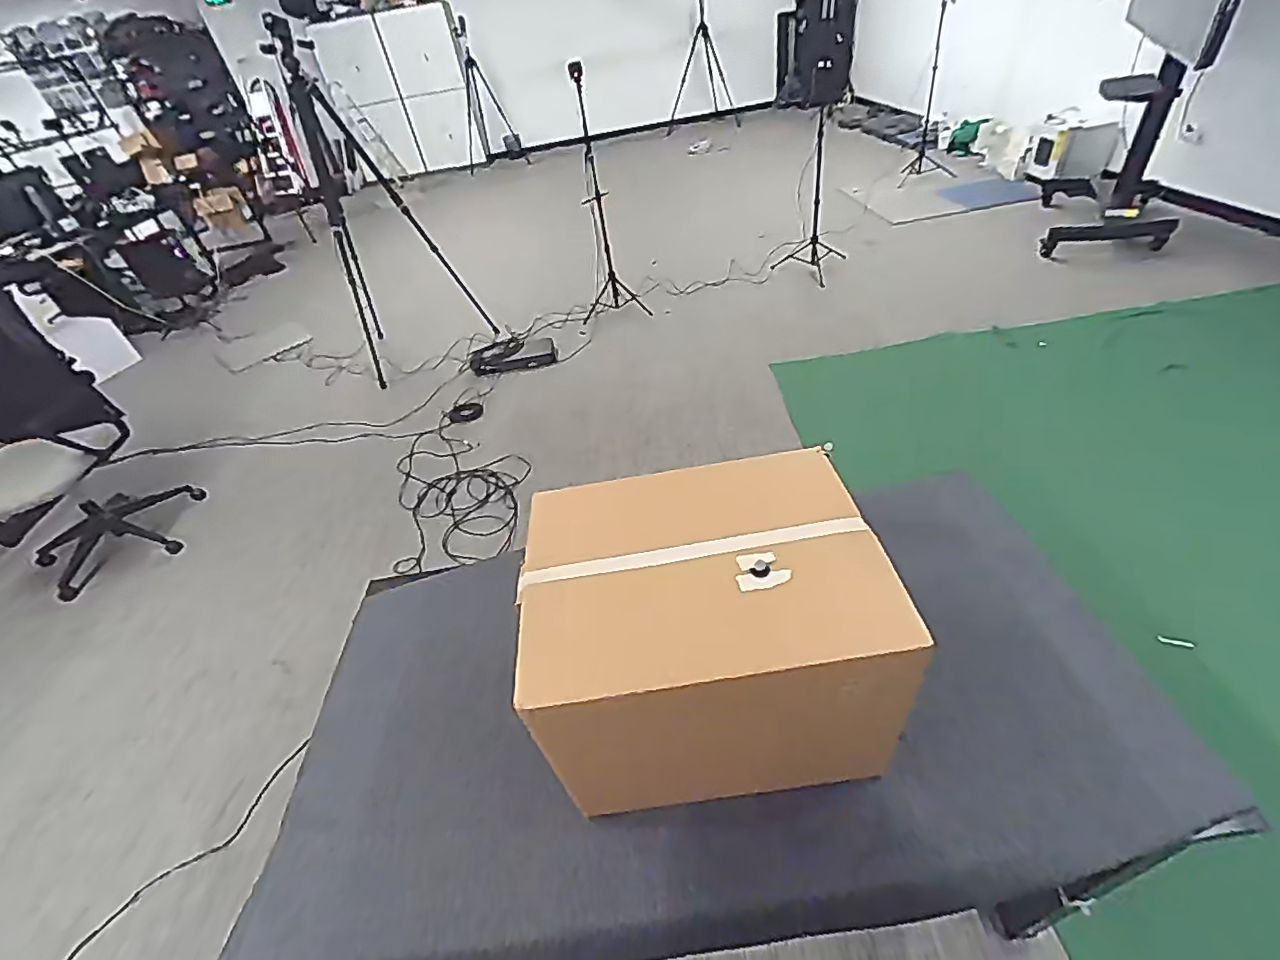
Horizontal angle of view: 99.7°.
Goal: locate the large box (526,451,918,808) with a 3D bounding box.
[{"bbox_3d":[0.084,0.201,0.739,0.408,0.320,0.320,-9,42,1],"label":"large box"}]
